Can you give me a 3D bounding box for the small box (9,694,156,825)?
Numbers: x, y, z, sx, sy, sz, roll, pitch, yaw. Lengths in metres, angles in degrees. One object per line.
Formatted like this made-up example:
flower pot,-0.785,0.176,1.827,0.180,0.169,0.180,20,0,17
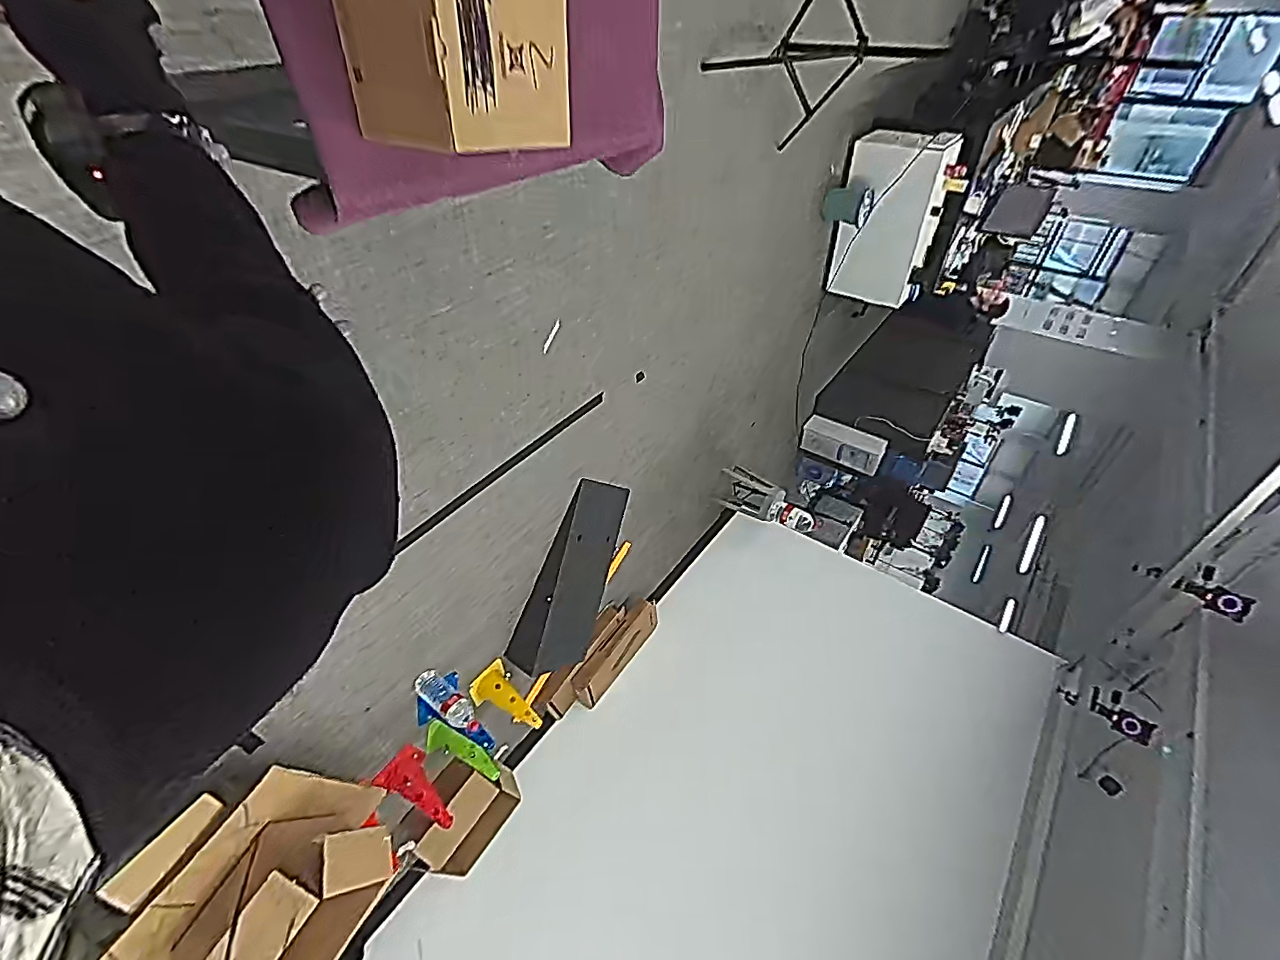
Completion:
small box,-1.301,0.646,1.261,0.179,0.176,0.168,-39,145,-37
